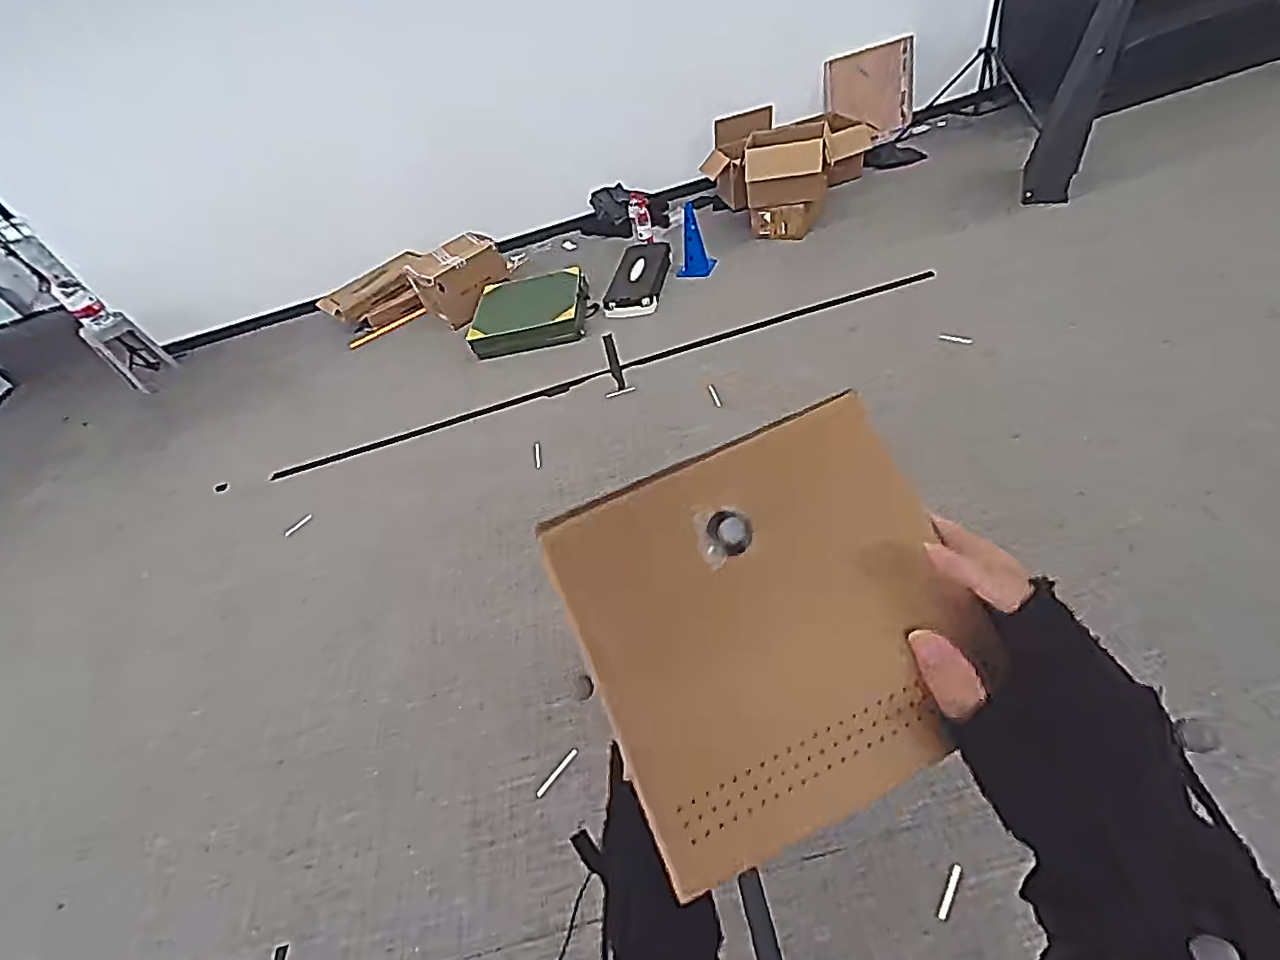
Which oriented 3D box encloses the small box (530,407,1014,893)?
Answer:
[{"bbox_3d":[0.061,0.090,0.320,0.179,0.168,0.176,-24,78,-6],"label":"small box"}]
